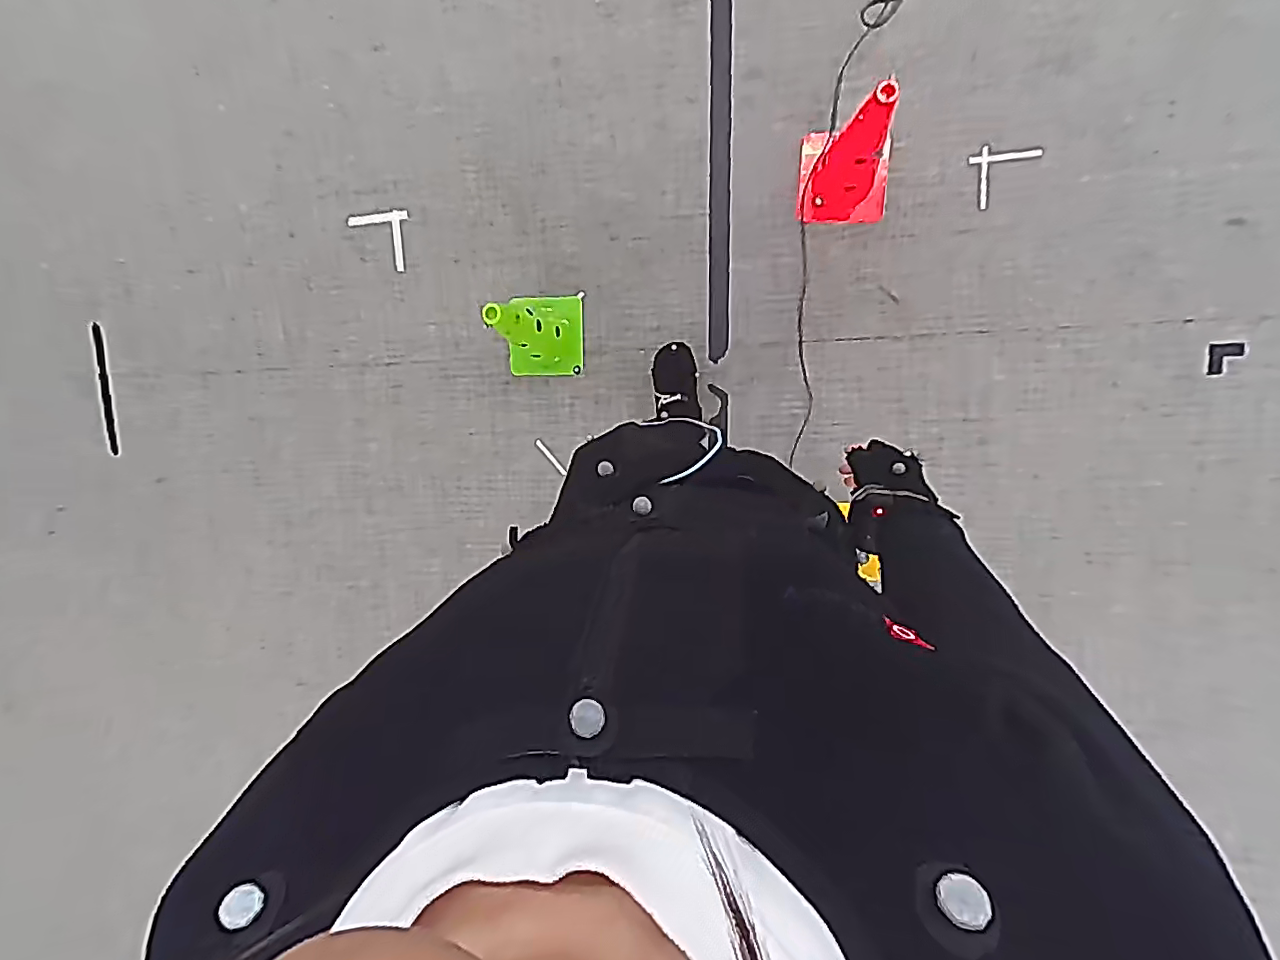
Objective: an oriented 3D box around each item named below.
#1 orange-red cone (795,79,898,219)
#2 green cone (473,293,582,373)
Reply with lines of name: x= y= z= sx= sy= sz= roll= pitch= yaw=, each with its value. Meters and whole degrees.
orange-red cone: x=0.453 y=-0.696 z=1.102 sx=0.199 sy=0.360 sz=0.198 roll=5 pitch=98 yaw=7
green cone: x=-0.278 y=-0.363 z=1.241 sx=0.202 sy=0.368 sz=0.200 roll=0 pitch=96 yaw=9
